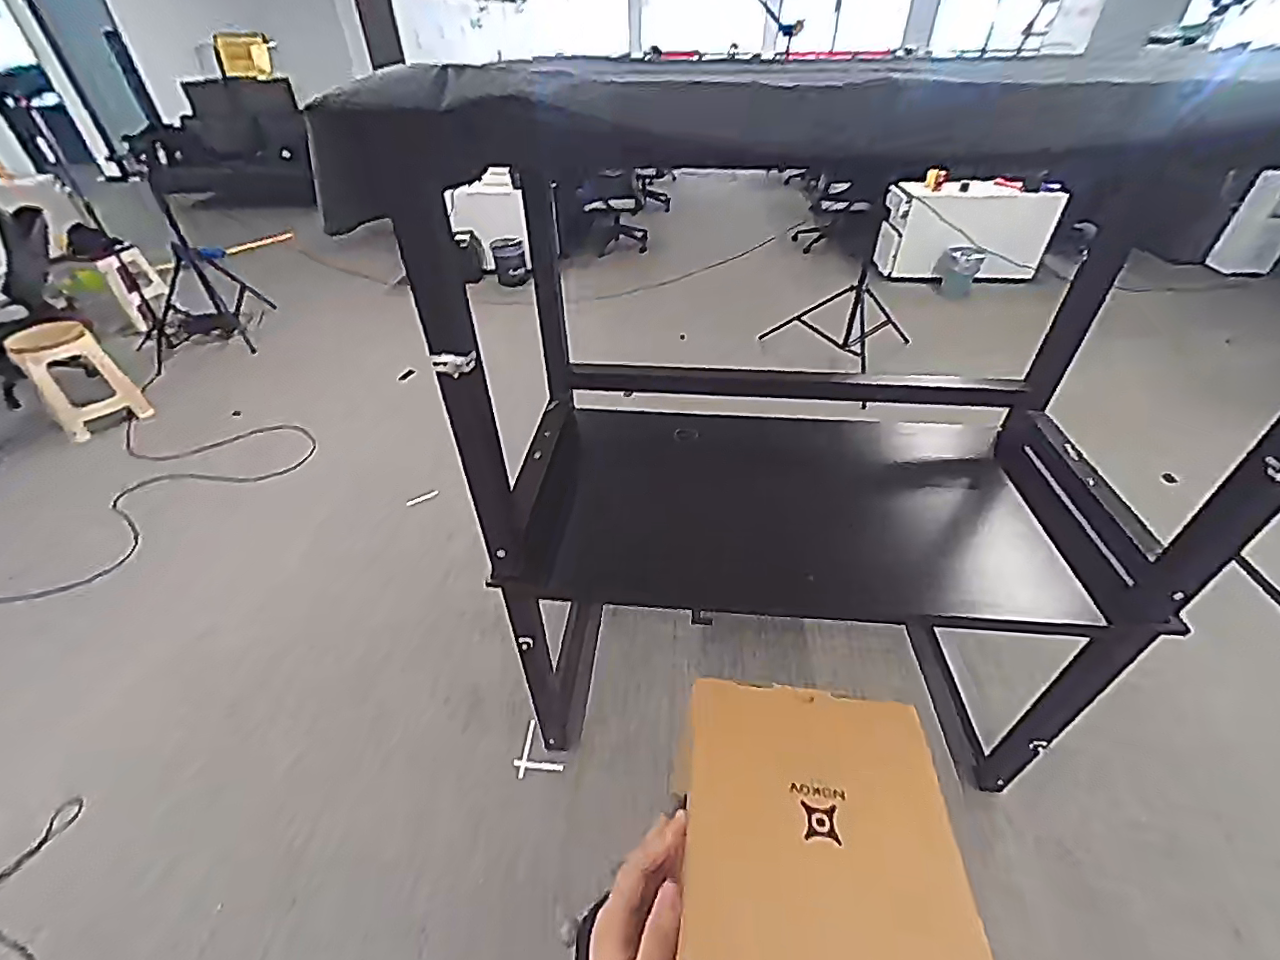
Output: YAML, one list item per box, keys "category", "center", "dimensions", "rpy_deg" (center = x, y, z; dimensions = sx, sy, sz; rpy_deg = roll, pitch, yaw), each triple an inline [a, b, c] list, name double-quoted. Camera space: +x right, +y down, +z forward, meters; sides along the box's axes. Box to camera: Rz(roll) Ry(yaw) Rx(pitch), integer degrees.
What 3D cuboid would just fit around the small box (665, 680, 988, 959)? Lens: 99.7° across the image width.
- category: "small box"
  center: [0.109, 0.276, 0.388]
  dimensions: [0.168, 0.176, 0.179]
  rpy_deg: [6, 36, 4]
